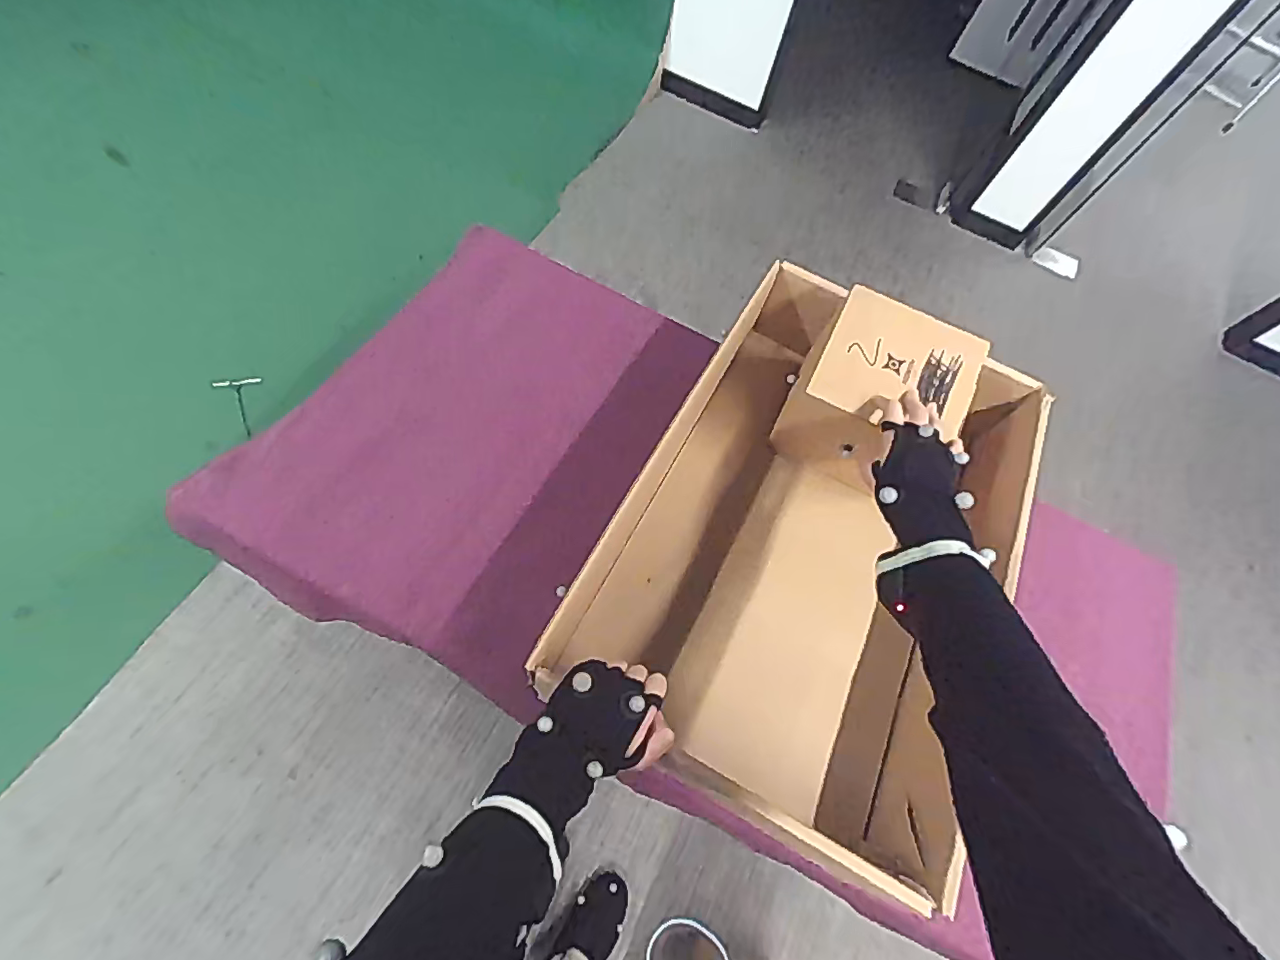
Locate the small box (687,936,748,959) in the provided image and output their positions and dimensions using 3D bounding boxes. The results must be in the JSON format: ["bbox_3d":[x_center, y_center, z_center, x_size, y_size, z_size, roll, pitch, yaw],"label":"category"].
[{"bbox_3d":[0.172,1.021,1.029,0.179,0.176,0.168,26,64,5],"label":"small box"}]
